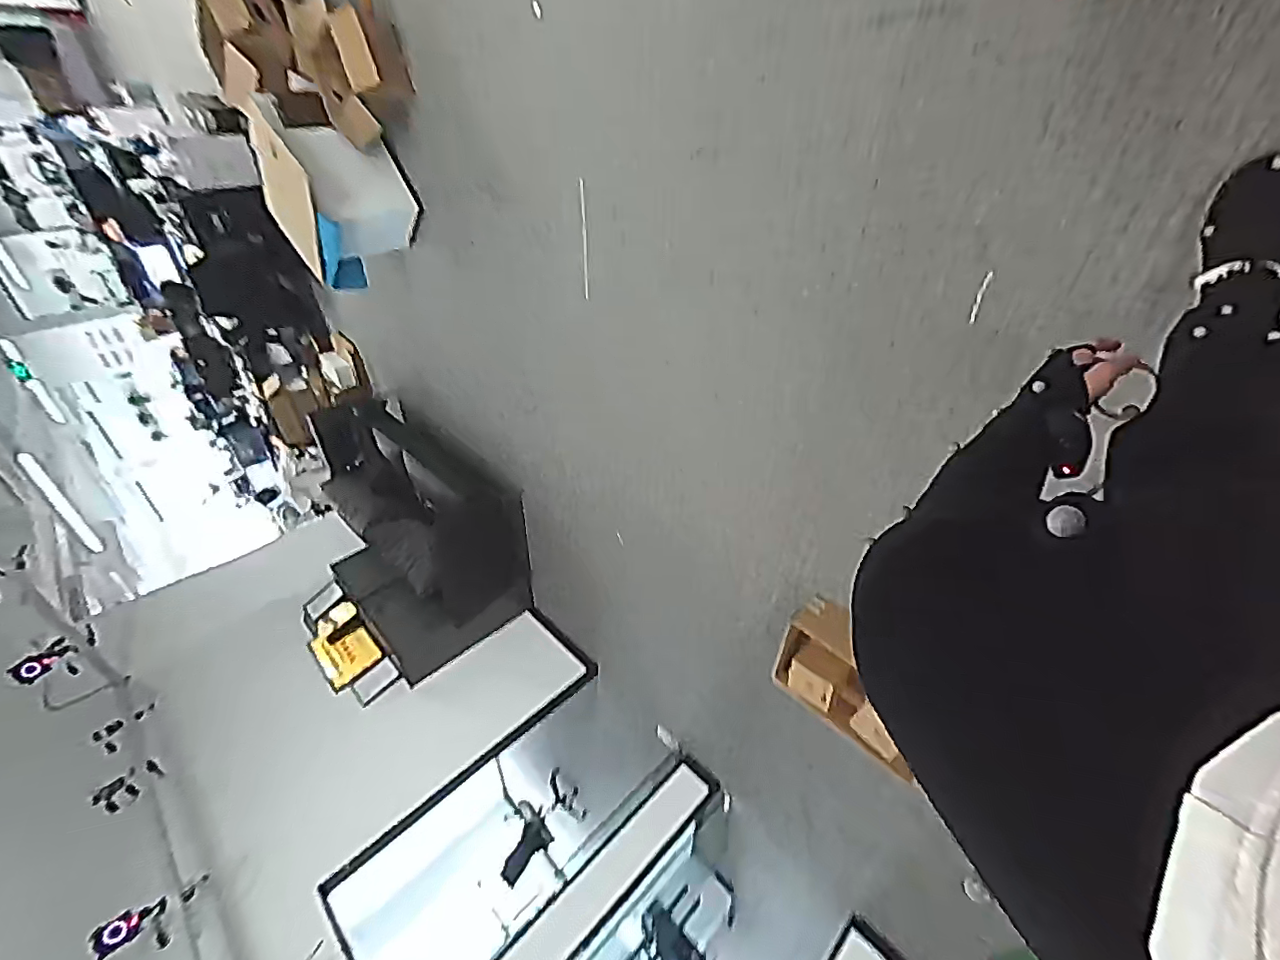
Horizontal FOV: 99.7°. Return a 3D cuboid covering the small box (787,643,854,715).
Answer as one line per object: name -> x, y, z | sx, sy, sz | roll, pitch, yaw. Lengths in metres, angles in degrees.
small box -> 0.707, 0.770, 2.122 | 0.179, 0.176, 0.168 | 29, 133, 37
